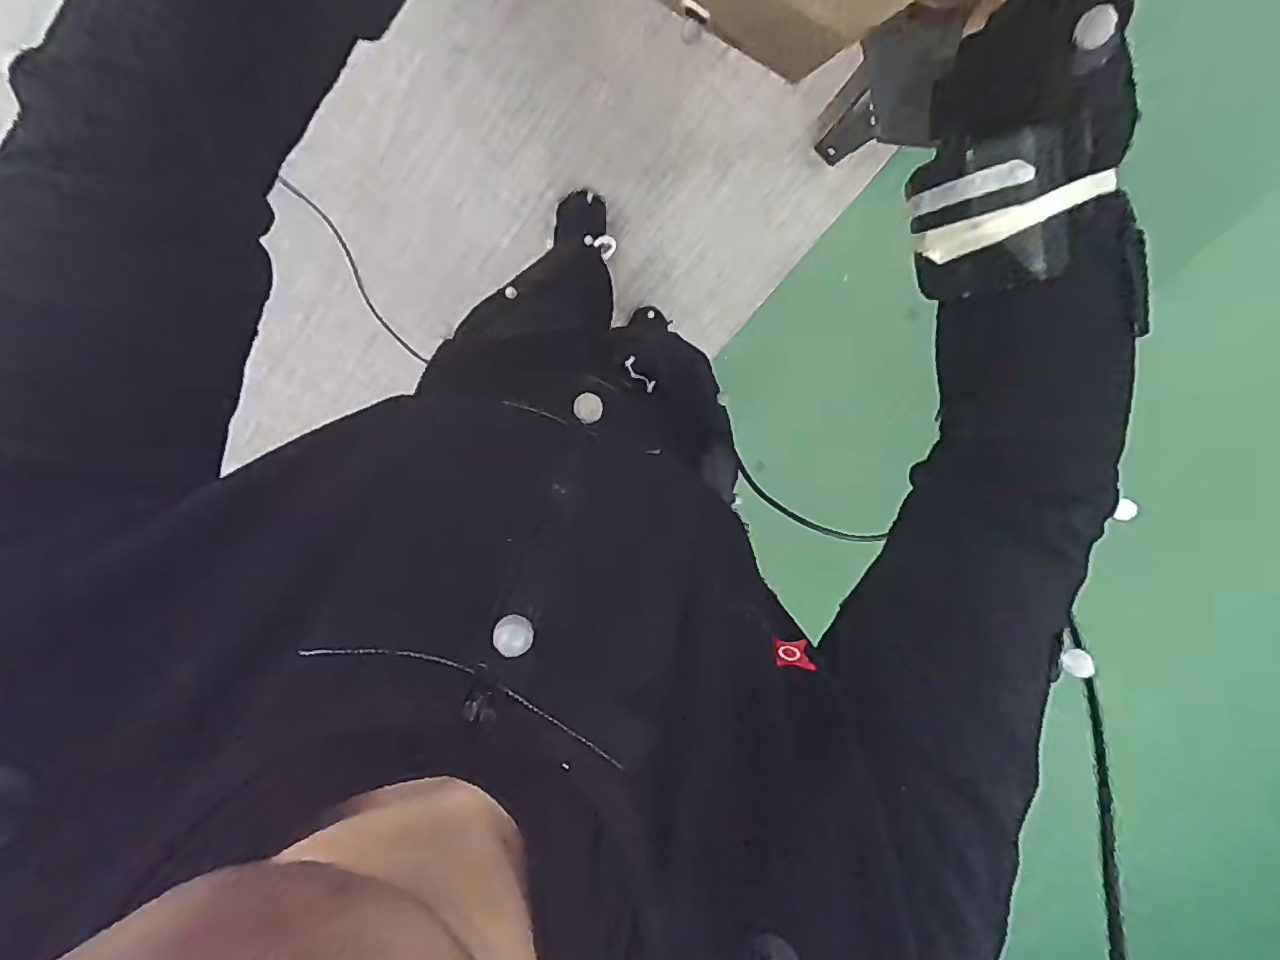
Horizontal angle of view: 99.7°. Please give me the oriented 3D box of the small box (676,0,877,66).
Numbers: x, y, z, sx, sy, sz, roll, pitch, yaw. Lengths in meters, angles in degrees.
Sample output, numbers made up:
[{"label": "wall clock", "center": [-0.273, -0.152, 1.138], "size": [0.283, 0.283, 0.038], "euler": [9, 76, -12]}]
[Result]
[{"label": "small box", "center": [0.091, -0.392, 0.320], "size": [0.168, 0.176, 0.179], "euler": [23, 118, -10]}]
